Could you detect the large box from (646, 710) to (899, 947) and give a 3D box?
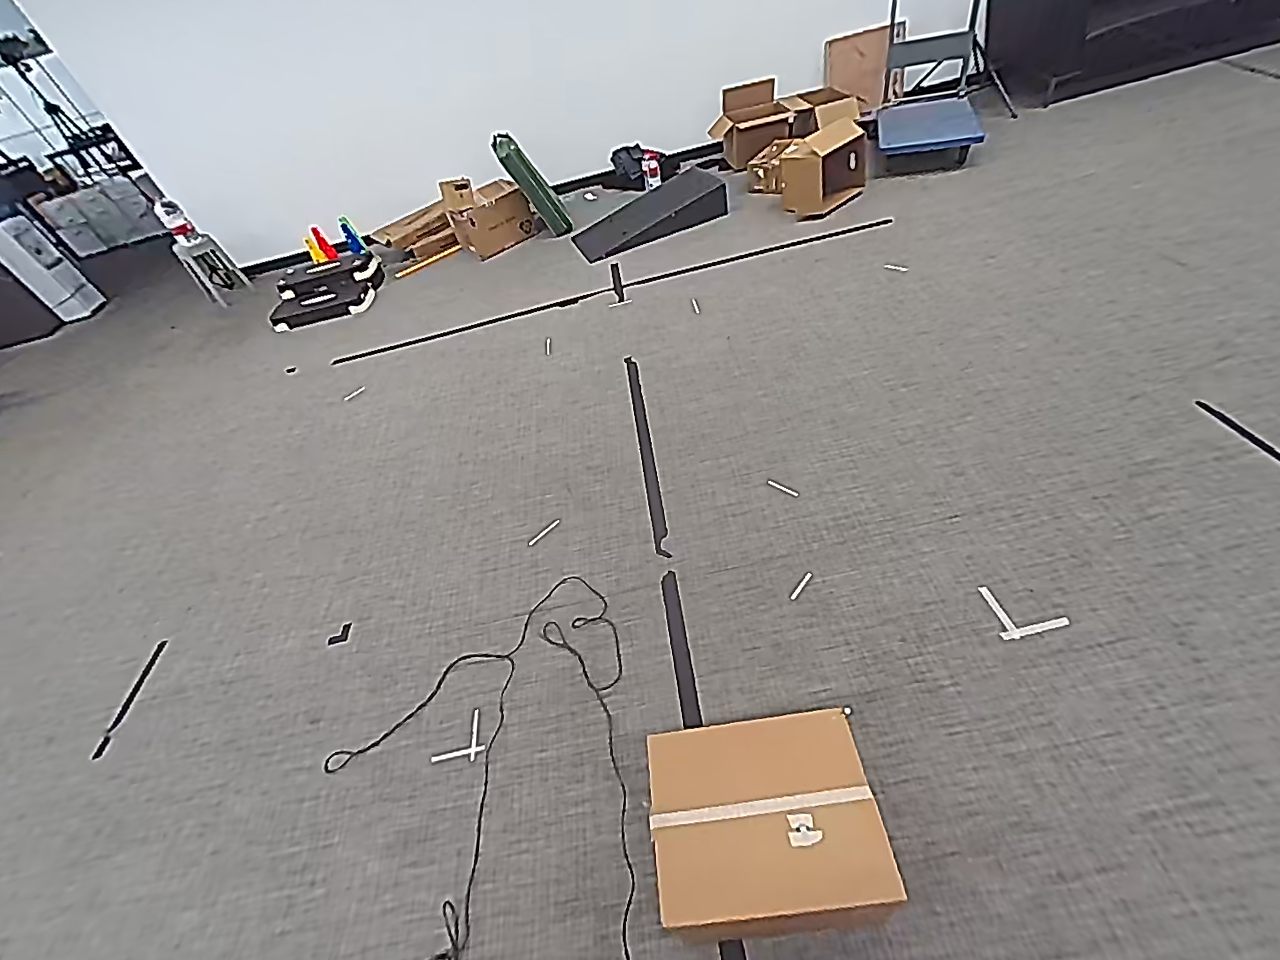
[{"bbox_3d":[0.244,0.712,1.100,0.408,0.320,0.320,-10,45,4],"label":"large box"}]
